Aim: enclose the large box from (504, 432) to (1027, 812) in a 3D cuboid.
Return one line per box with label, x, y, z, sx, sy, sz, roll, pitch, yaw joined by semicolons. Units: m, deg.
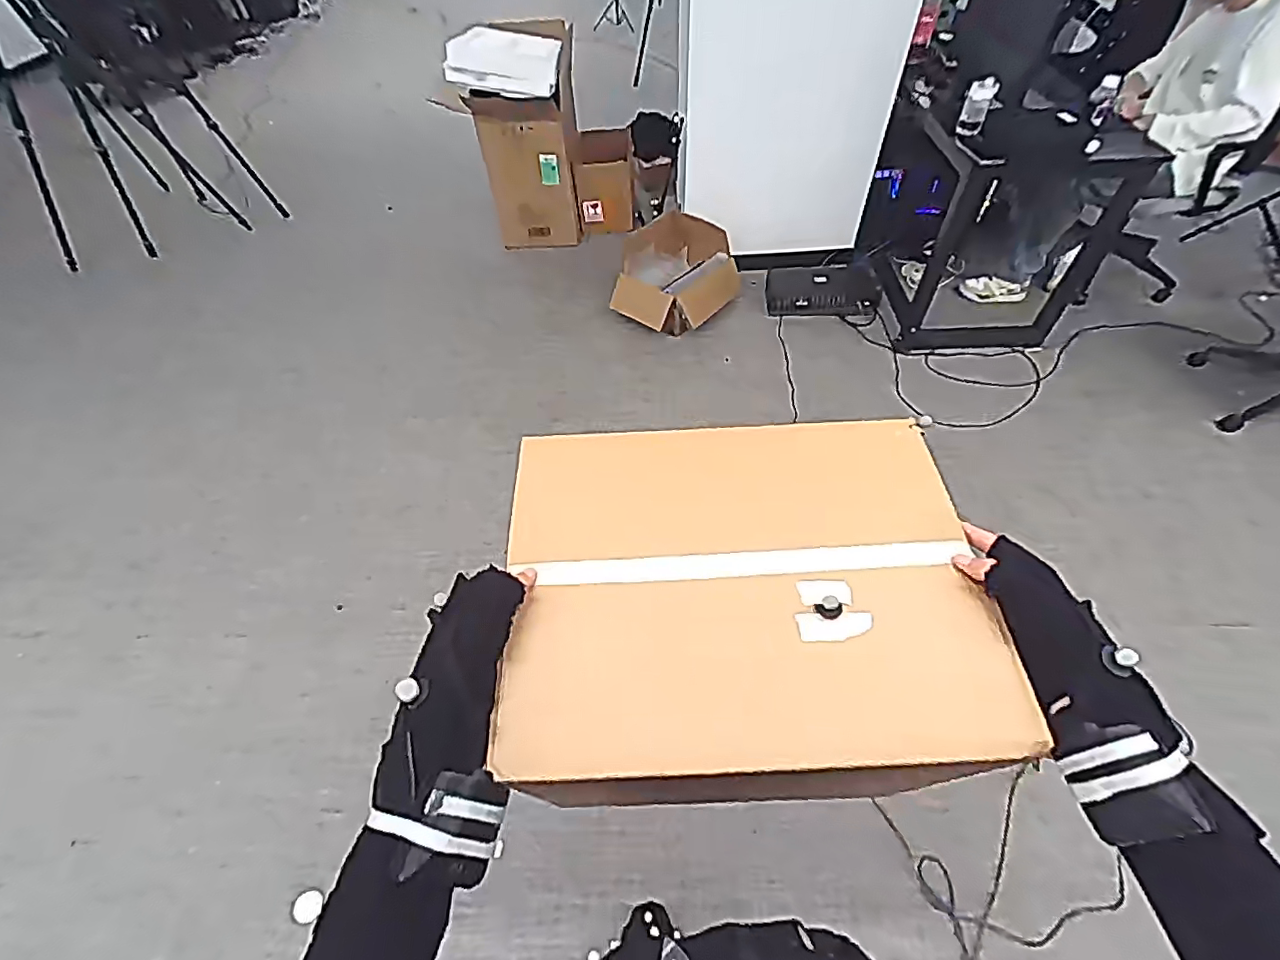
large box;0.090;0.171;0.609;0.408;0.320;0.320;-3;55;0
